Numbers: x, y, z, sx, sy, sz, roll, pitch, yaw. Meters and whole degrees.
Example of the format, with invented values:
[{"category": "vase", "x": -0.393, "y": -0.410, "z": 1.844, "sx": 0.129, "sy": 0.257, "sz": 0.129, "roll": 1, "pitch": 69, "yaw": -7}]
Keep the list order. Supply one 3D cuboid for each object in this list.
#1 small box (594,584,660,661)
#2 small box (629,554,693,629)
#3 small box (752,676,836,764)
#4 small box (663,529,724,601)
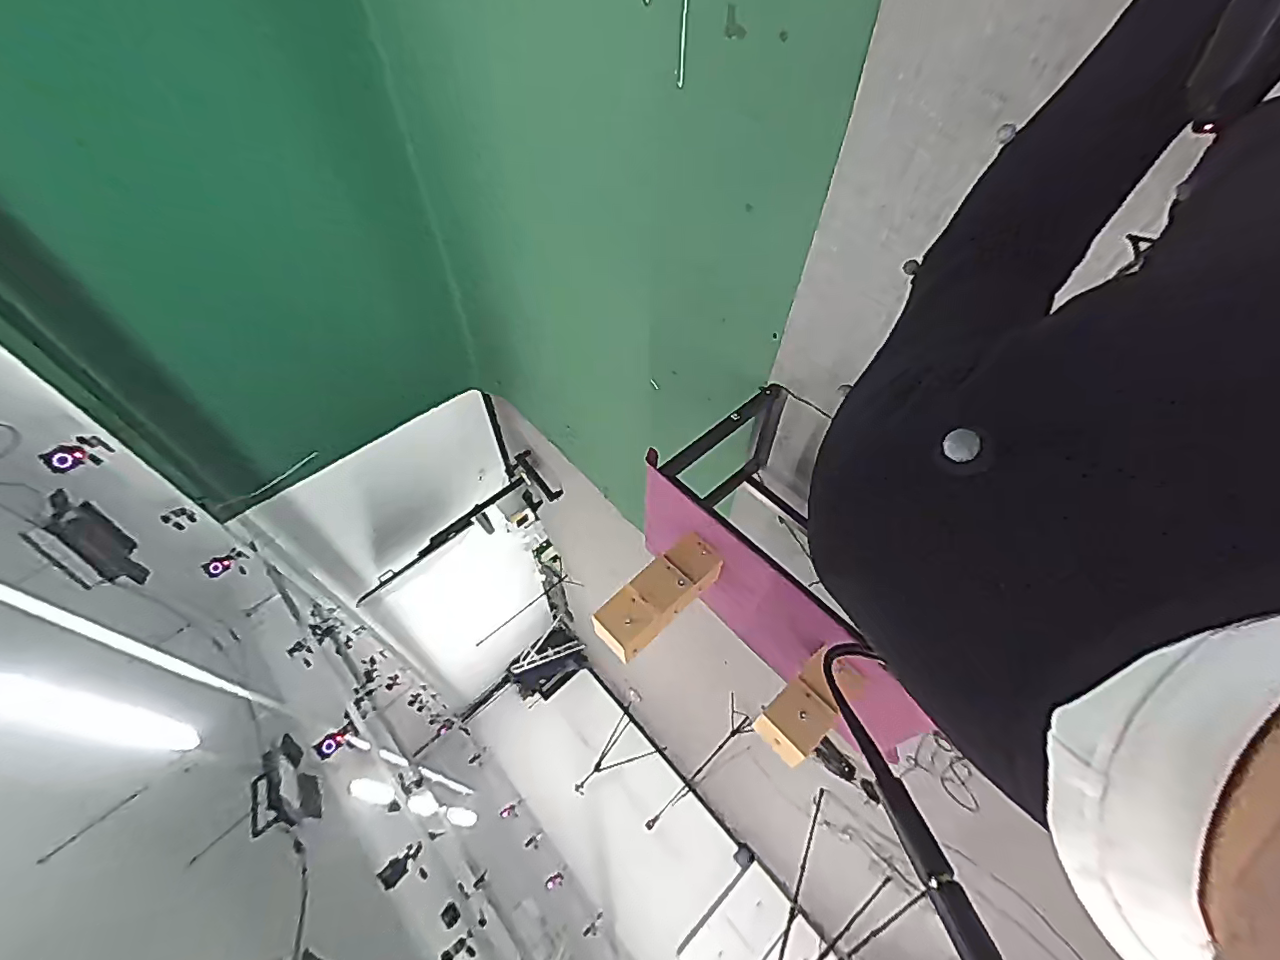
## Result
[{"category": "small box", "x": -0.041, "y": 0.496, "z": 1.902, "sx": 0.168, "sy": 0.176, "sz": 0.179, "roll": 40, "pitch": 155, "yaw": 26}, {"category": "small box", "x": 0.078, "y": 0.400, "z": 1.956, "sx": 0.168, "sy": 0.176, "sz": 0.179, "roll": 41, "pitch": 155, "yaw": 24}, {"category": "small box", "x": 0.476, "y": 0.738, "z": 1.673, "sx": 0.168, "sy": 0.176, "sz": 0.179, "roll": 42, "pitch": 154, "yaw": 26}, {"category": "small box", "x": 0.196, "y": 0.319, "z": 2.038, "sx": 0.168, "sy": 0.176, "sz": 0.179, "roll": 42, "pitch": 154, "yaw": 22}]
